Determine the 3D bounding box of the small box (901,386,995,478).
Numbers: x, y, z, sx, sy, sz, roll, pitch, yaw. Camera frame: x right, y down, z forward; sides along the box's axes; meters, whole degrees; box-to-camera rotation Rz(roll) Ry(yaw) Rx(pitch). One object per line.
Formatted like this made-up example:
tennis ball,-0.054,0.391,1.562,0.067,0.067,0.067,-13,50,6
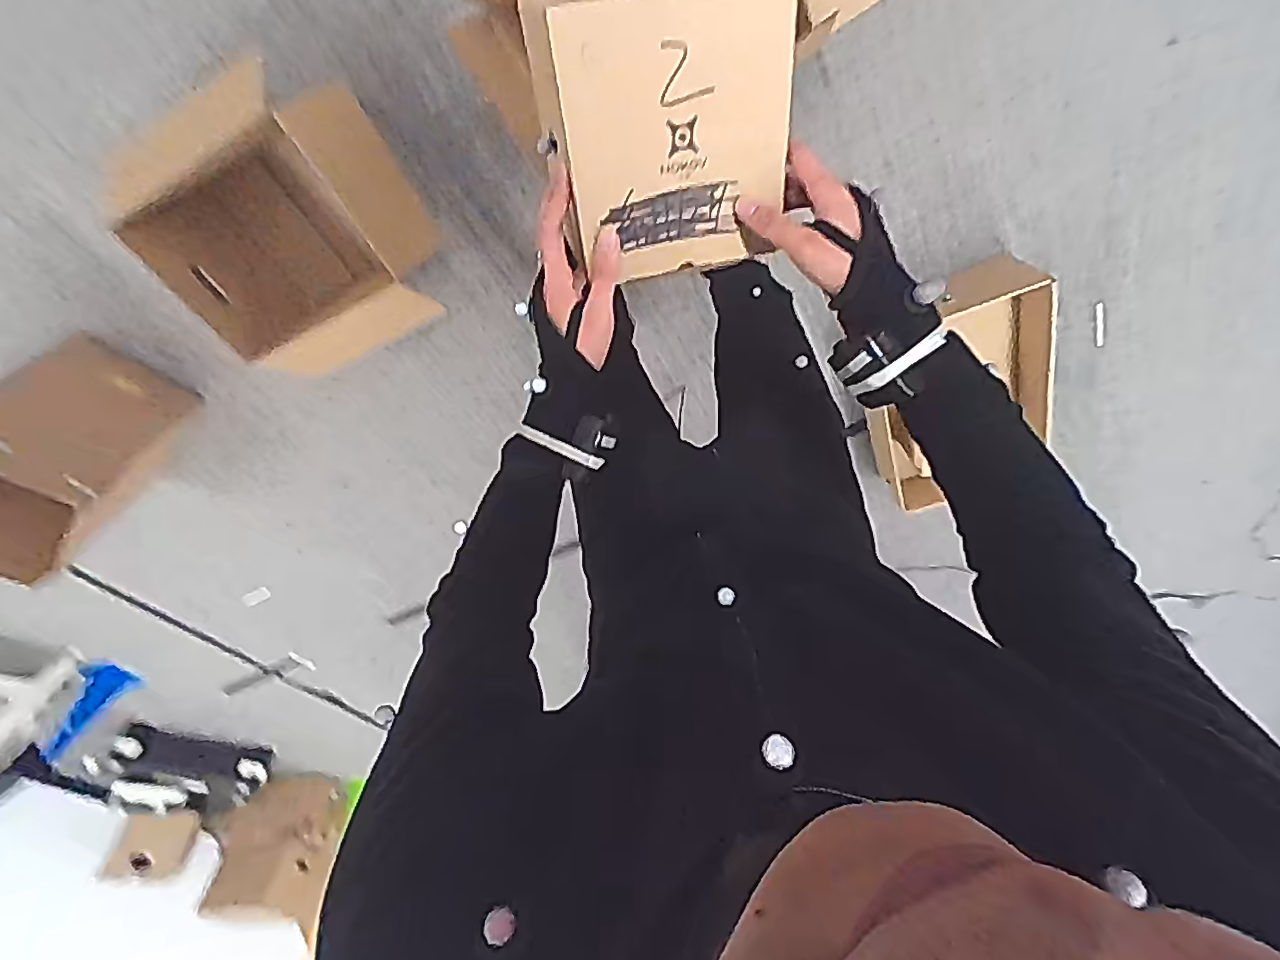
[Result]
small box,0.833,-0.134,1.483,0.179,0.176,0.168,-14,129,10
